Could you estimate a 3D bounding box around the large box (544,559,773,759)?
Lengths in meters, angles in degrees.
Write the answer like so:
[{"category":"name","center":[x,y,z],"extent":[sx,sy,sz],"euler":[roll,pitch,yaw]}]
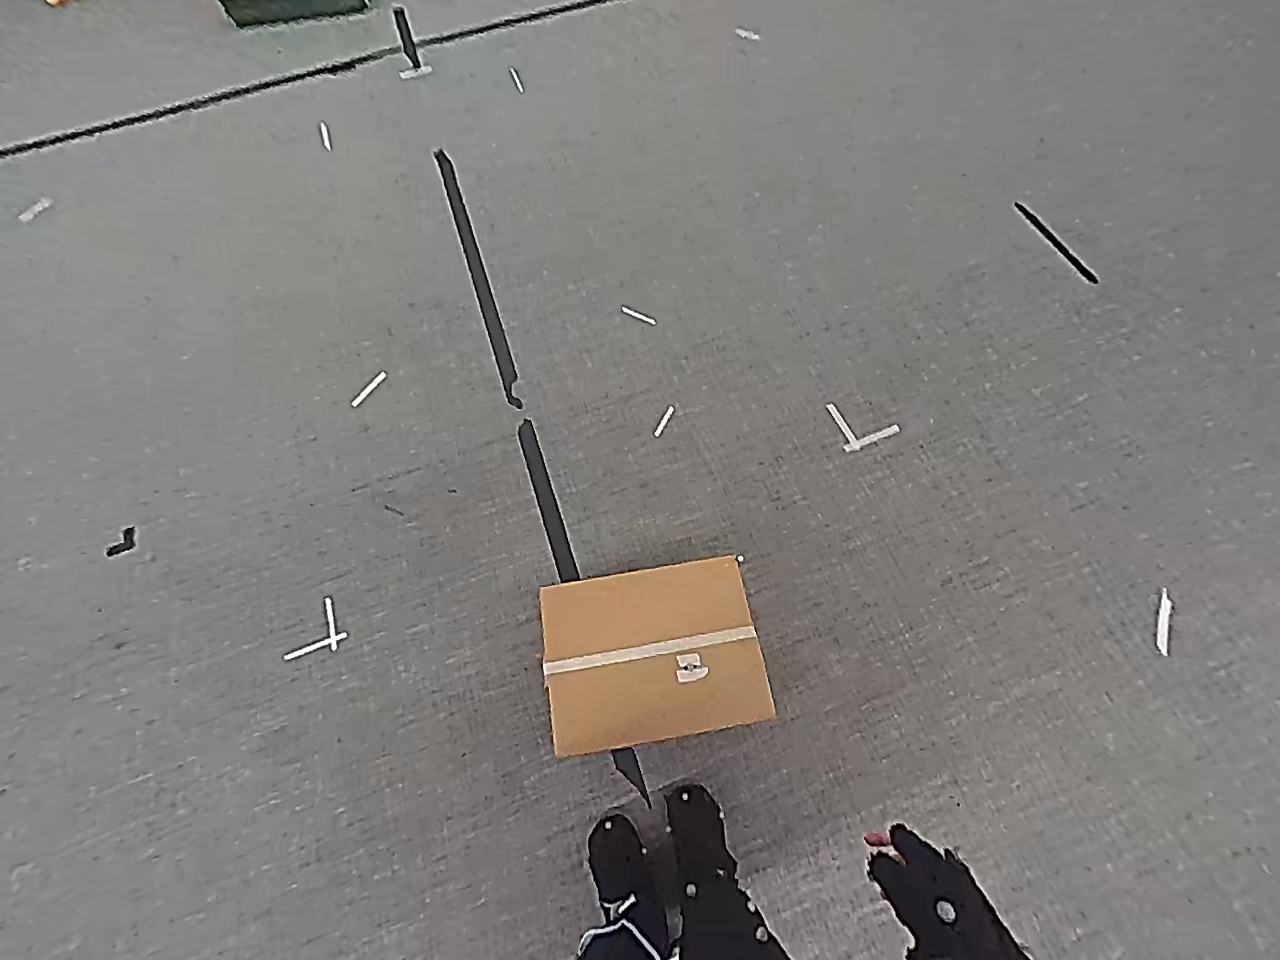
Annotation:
[{"category":"large box","center":[0.029,0.396,1.178],"extent":[0.408,0.320,0.320],"euler":[-9,66,-2]}]
